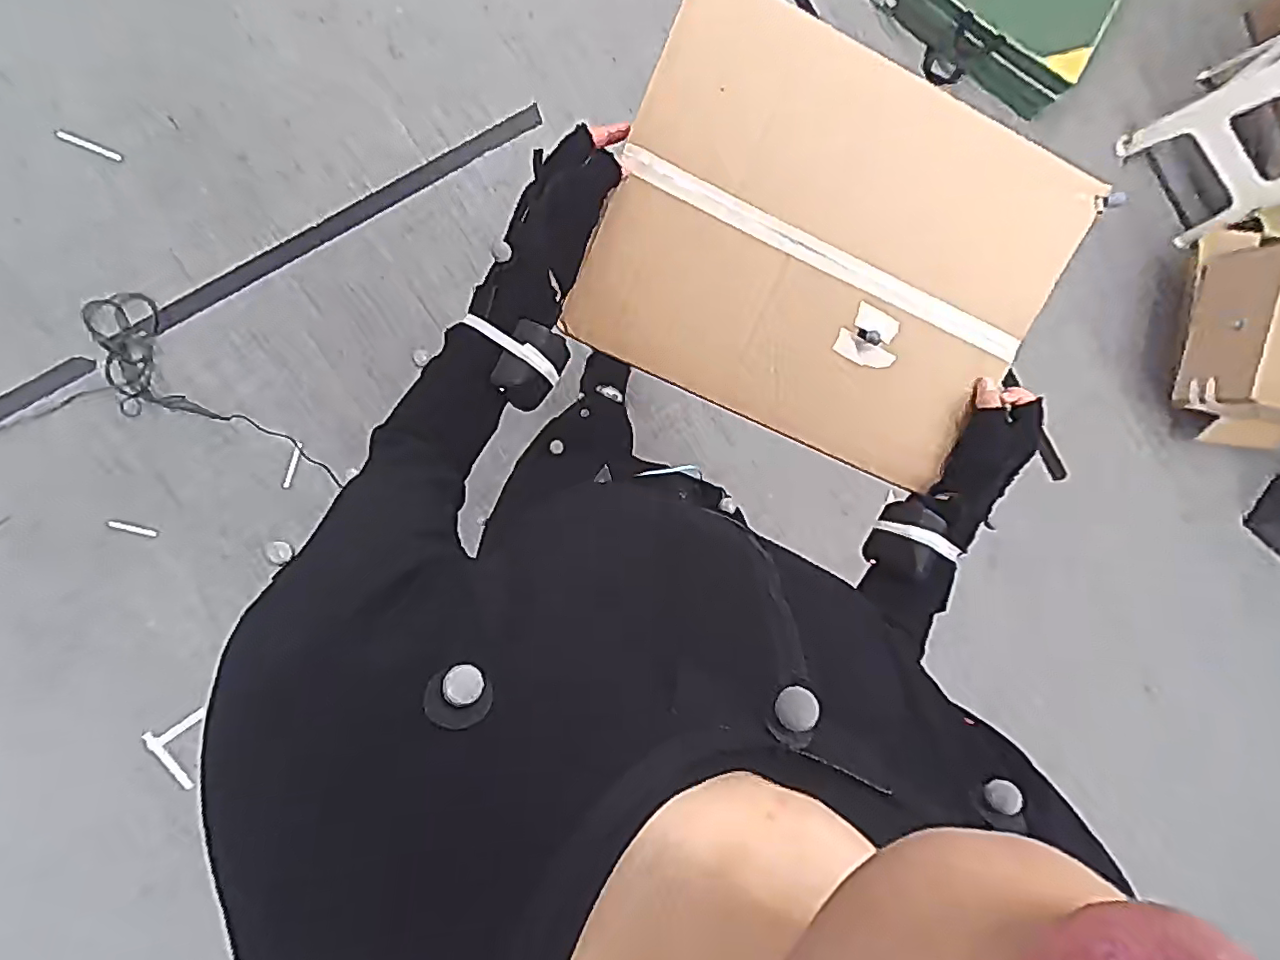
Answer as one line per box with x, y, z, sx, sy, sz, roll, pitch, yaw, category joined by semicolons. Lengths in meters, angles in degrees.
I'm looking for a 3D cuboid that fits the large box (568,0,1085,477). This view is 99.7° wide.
0.162;-0.247;0.643;0.408;0.320;0.320;23;103;-9;large box
